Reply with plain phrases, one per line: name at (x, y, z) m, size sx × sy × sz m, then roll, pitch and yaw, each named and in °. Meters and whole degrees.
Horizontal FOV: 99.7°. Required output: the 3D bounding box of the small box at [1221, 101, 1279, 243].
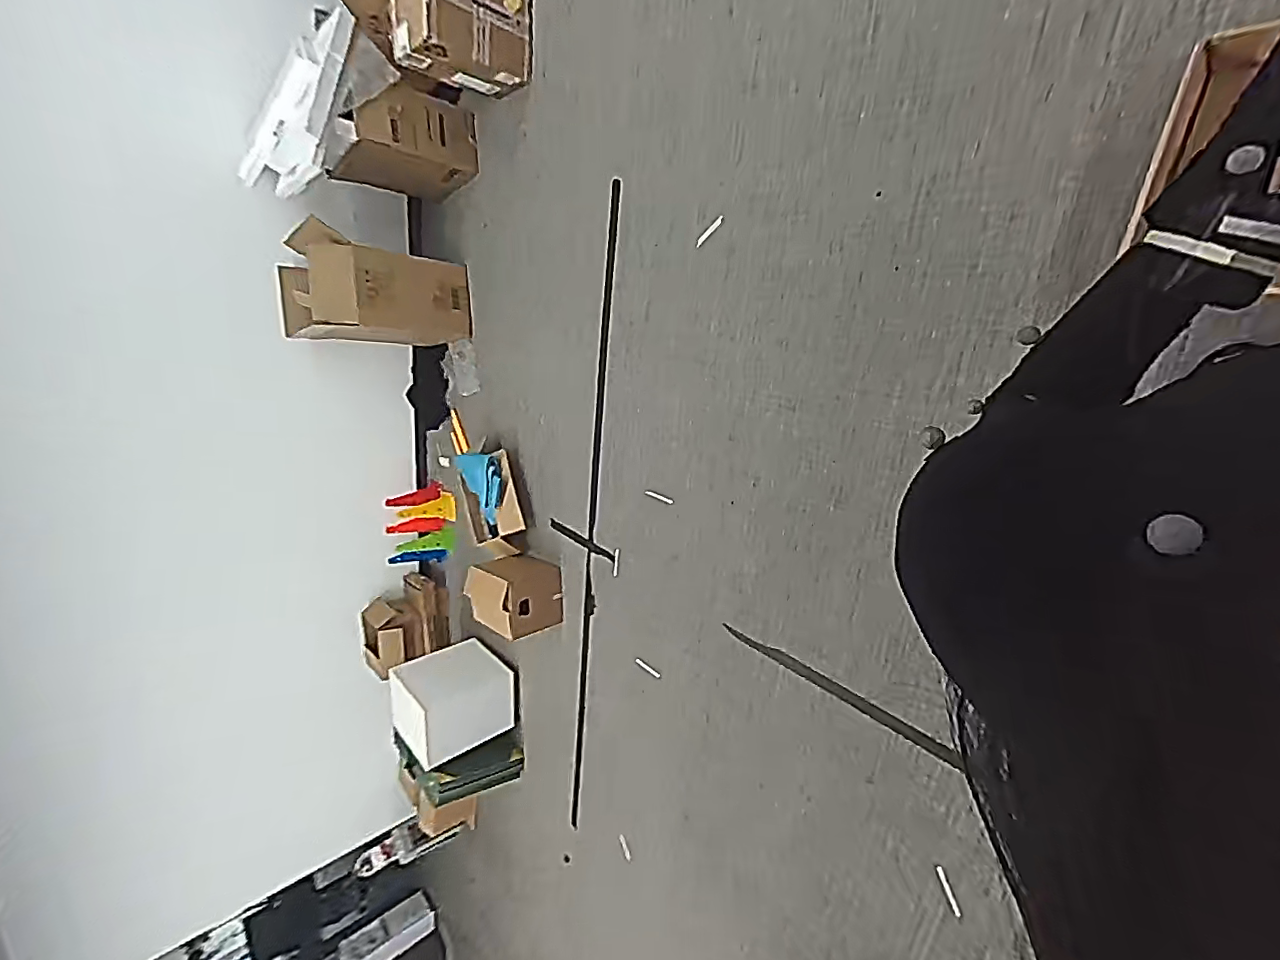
small box at (1.066, -0.488, 0.859) m, size 0.168 × 0.176 × 0.179 m, roll 19°, pitch 112°, yaw 42°
